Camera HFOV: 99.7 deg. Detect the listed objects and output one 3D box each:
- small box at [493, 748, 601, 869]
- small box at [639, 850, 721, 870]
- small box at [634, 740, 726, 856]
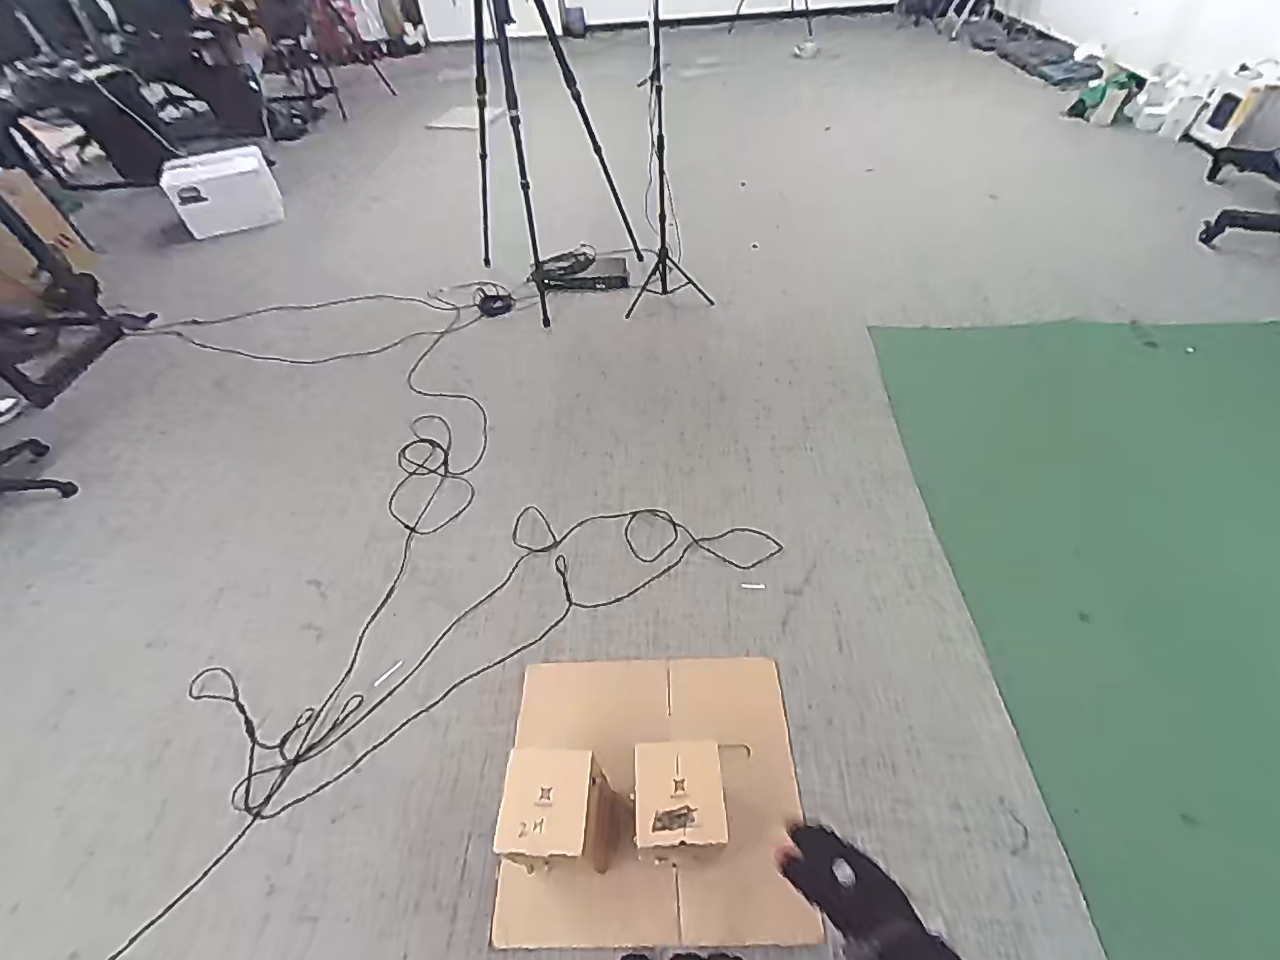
[{"bbox_3d":[-0.173,0.649,1.069,0.168,0.176,0.179,-1,49,5],"label":"small box"},{"bbox_3d":[0.082,0.742,1.191,0.168,0.176,0.179,-3,50,1],"label":"small box"},{"bbox_3d":[0.075,0.633,1.069,0.168,0.176,0.179,-3,49,1],"label":"small box"}]
